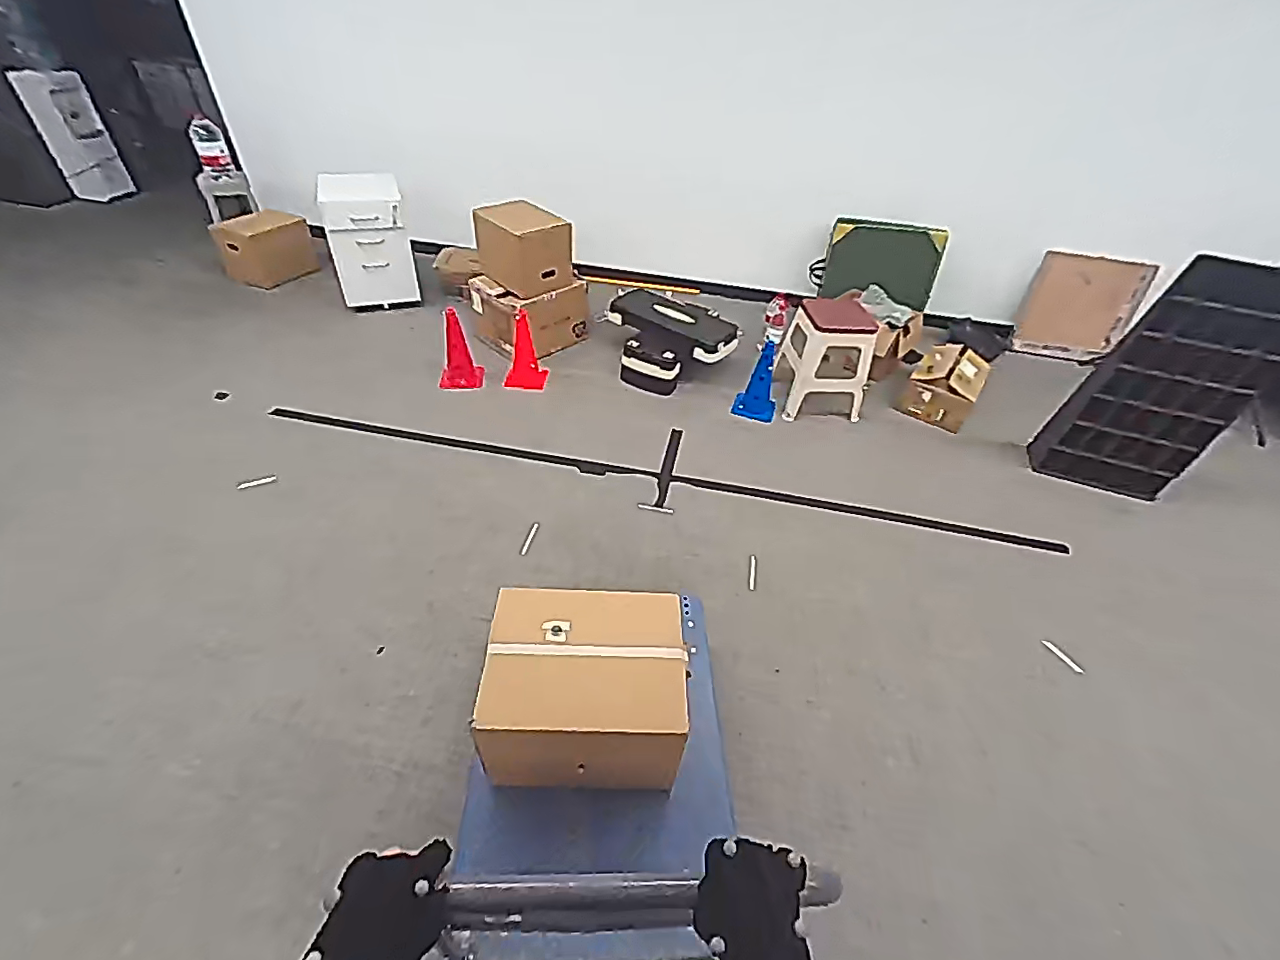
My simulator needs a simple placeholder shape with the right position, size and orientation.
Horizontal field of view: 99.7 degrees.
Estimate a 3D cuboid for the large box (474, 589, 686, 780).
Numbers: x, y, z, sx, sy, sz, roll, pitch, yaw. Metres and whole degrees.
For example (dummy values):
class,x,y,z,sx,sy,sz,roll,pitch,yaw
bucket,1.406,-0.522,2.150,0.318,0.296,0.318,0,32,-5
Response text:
class,x,y,z,sx,sy,sz,roll,pitch,yaw
large box,-0.119,0.465,1.221,0.408,0.320,0.320,3,43,-2
